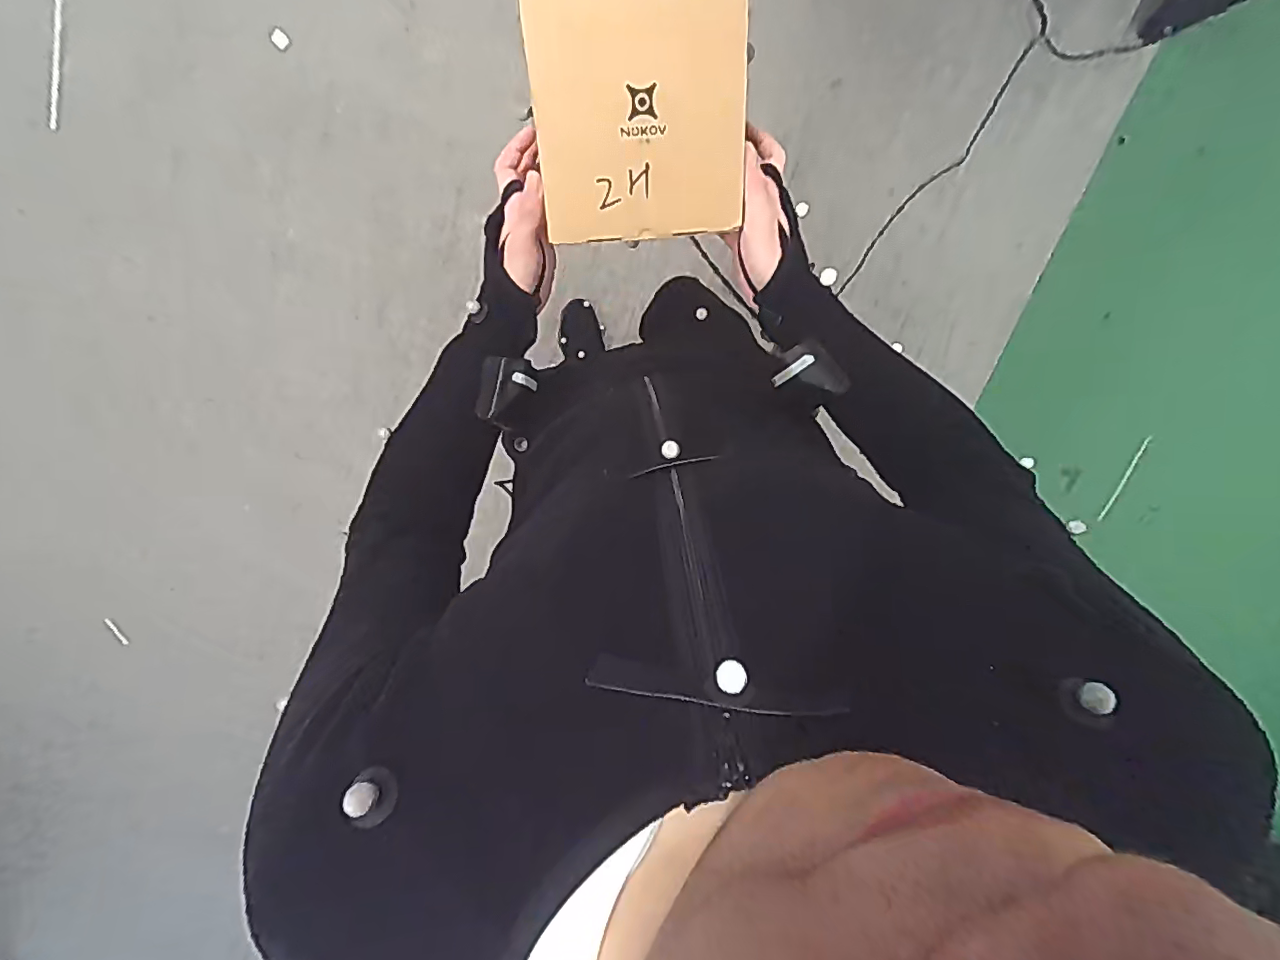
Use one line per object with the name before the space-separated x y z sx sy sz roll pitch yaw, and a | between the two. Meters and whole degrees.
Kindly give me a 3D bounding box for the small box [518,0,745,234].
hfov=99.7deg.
small box | -0.012 -0.324 0.481 0.168 0.176 0.179 -6 120 -4
